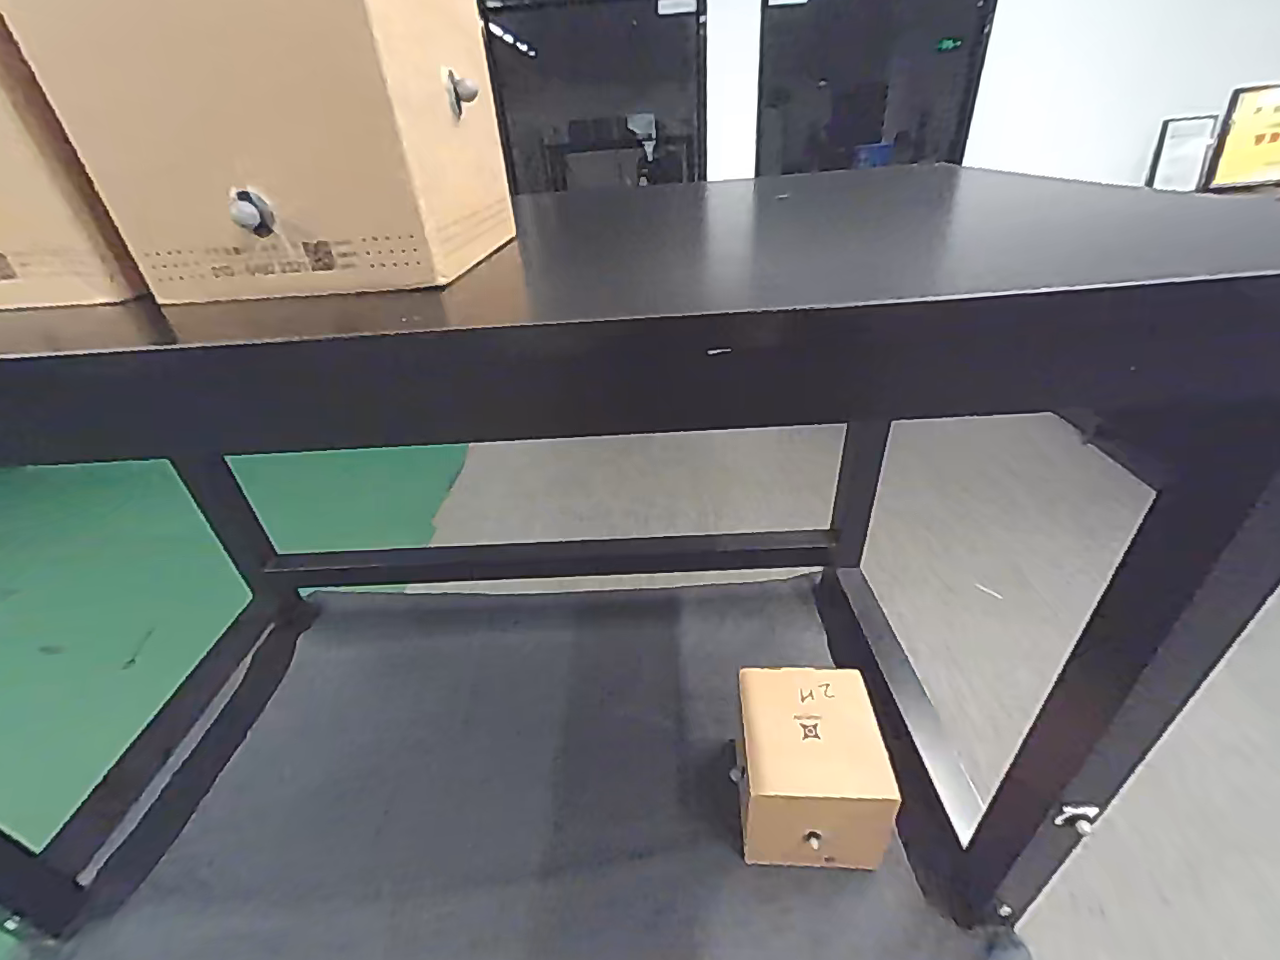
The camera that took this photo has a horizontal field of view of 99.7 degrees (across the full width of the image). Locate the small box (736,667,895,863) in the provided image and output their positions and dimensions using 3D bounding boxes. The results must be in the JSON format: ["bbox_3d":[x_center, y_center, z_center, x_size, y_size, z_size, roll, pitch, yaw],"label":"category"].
[{"bbox_3d":[0.216,0.374,0.716,0.168,0.176,0.179,-1,32,5],"label":"small box"}]
